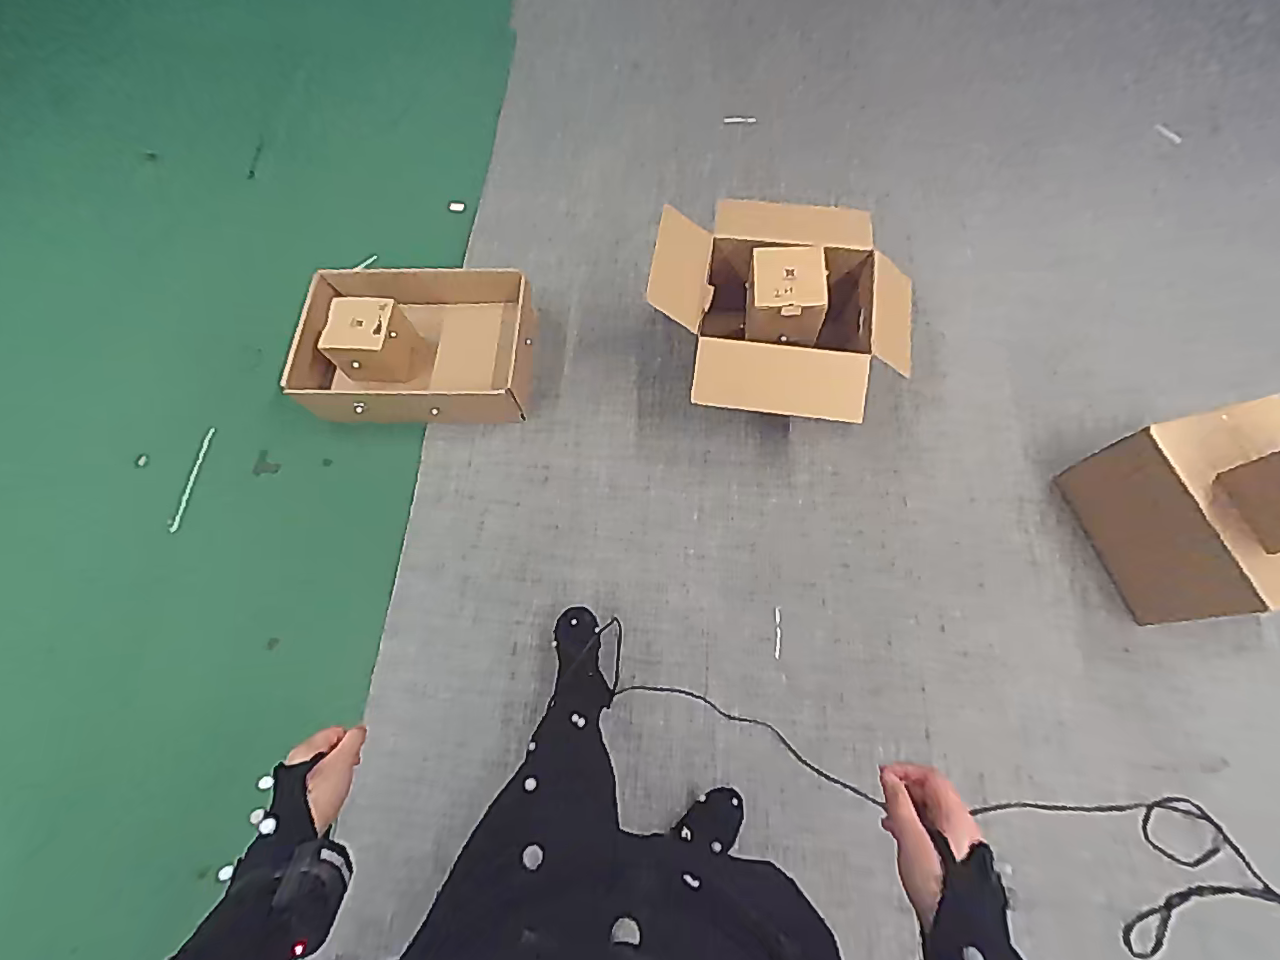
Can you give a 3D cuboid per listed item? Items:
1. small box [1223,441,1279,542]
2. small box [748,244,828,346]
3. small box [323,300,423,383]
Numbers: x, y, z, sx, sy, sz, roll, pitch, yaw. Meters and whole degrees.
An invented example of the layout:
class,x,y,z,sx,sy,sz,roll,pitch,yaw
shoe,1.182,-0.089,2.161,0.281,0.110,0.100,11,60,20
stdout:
class,x,y,z,sx,sy,sz,roll,pitch,yaw
small box,1.263,-0.001,0.995,0.168,0.176,0.179,-15,70,0
small box,0.359,-0.455,1.342,0.168,0.176,0.179,0,70,6
small box,-0.746,-0.387,1.529,0.179,0.176,0.168,2,69,4
